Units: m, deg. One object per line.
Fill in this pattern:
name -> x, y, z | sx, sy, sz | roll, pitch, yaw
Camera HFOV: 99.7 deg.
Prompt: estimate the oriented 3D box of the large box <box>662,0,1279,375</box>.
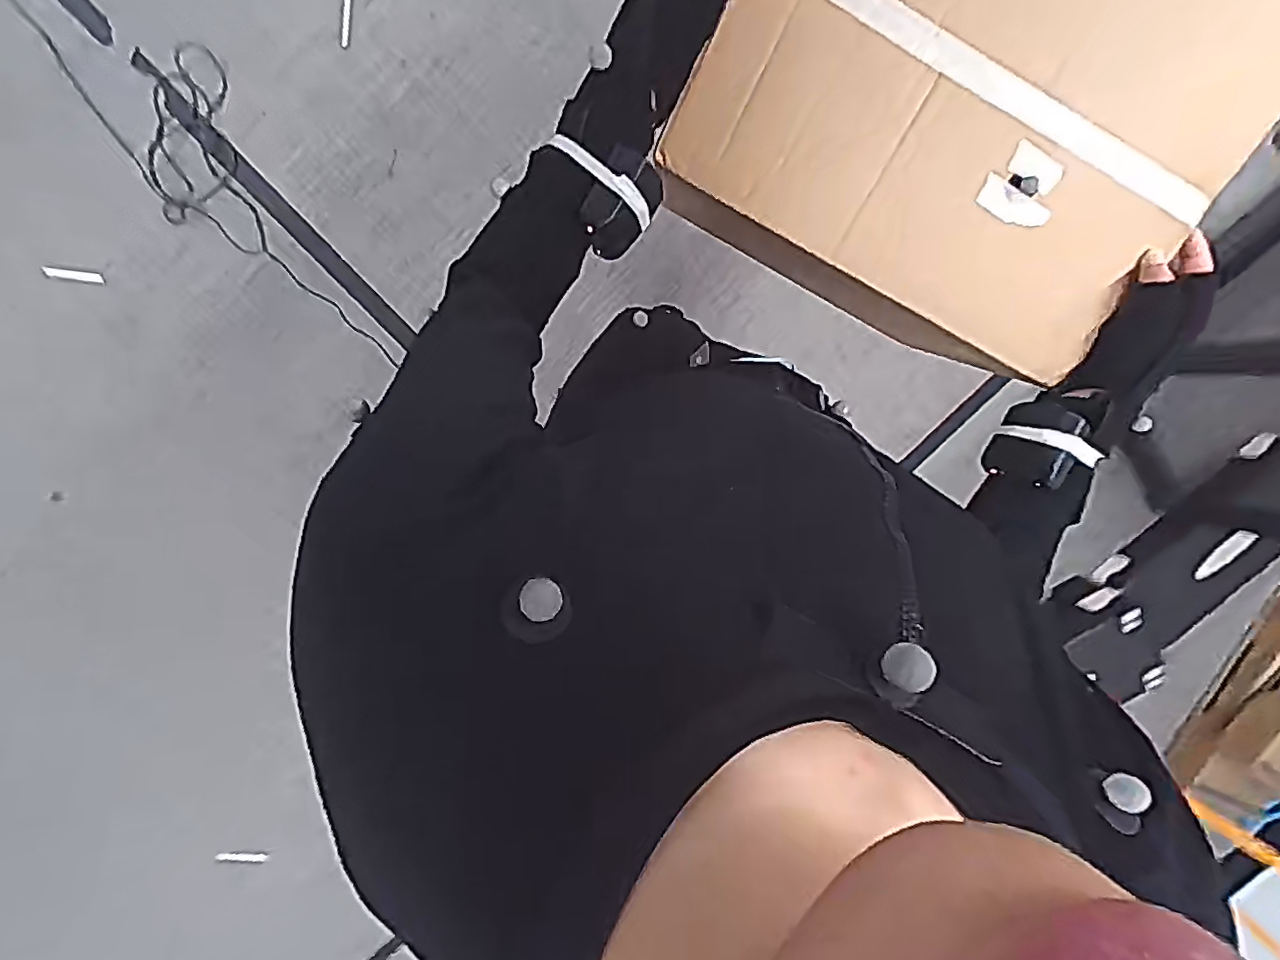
large box -> 0.265, -0.356, 0.551 | 0.408, 0.320, 0.320 | 26, 111, -8
